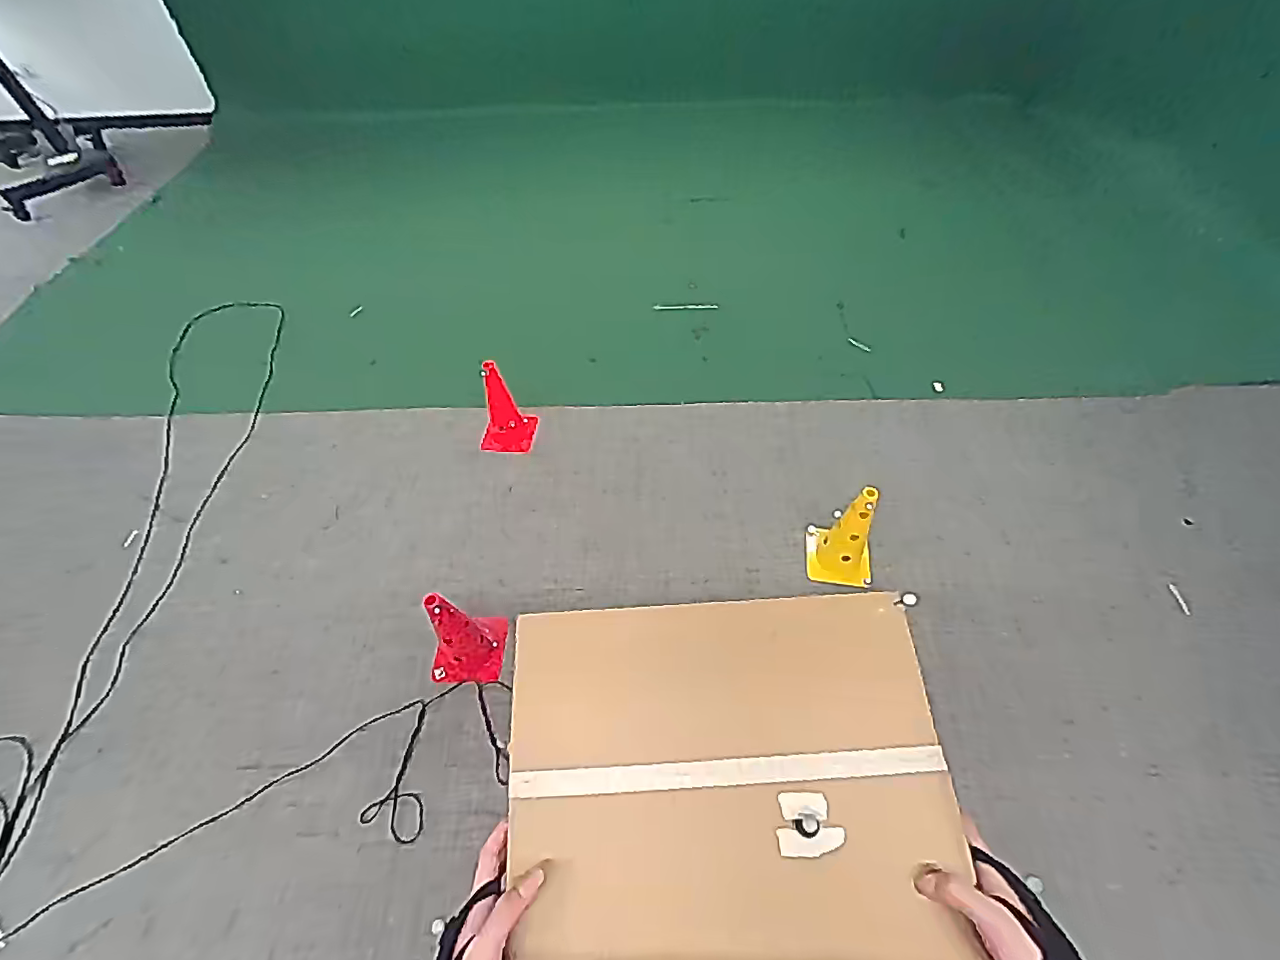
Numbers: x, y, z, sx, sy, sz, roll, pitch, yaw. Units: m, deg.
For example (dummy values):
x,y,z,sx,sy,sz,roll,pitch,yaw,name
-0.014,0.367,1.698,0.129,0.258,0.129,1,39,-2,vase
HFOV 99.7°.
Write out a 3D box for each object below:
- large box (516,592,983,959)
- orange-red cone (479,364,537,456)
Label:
x,y,z,sx,sy,sz,roll,pitch,yaw,name
0.084,0.337,0.648,0.408,0.320,0.320,-4,66,0,large box
-0.529,-0.280,2.003,0.199,0.360,0.198,4,52,7,orange-red cone
